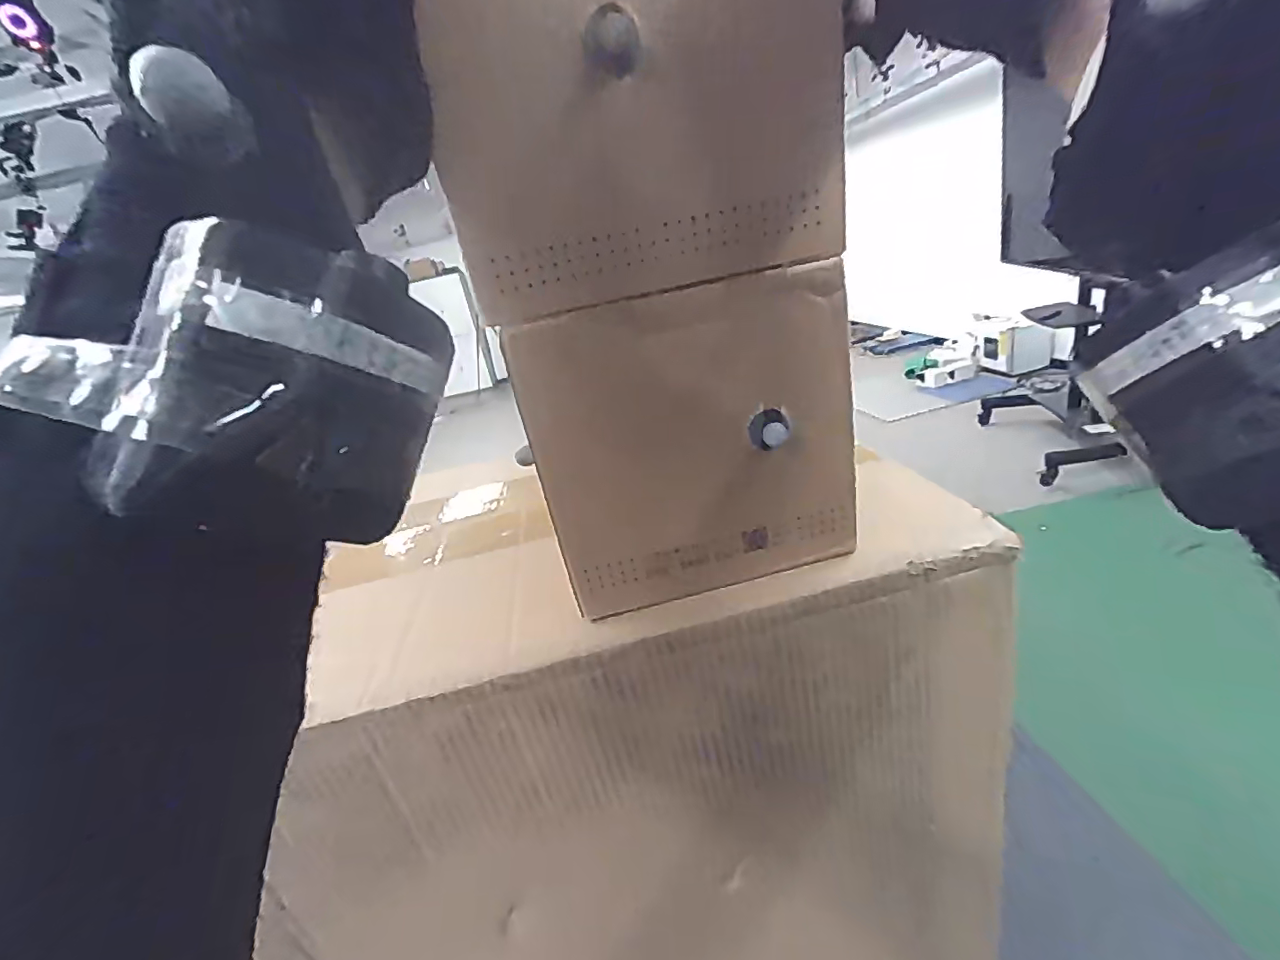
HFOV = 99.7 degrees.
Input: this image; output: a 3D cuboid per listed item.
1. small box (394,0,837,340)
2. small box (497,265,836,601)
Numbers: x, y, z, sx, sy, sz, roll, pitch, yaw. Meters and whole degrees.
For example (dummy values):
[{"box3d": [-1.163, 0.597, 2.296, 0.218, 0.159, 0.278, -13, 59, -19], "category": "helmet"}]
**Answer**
[{"box3d": [-0.013, -0.184, 0.288, 0.179, 0.176, 0.168, -13, 26, -7], "category": "small box"}, {"box3d": [0.016, -0.038, 0.358, 0.168, 0.176, 0.179, -13, 23, -4], "category": "small box"}]
